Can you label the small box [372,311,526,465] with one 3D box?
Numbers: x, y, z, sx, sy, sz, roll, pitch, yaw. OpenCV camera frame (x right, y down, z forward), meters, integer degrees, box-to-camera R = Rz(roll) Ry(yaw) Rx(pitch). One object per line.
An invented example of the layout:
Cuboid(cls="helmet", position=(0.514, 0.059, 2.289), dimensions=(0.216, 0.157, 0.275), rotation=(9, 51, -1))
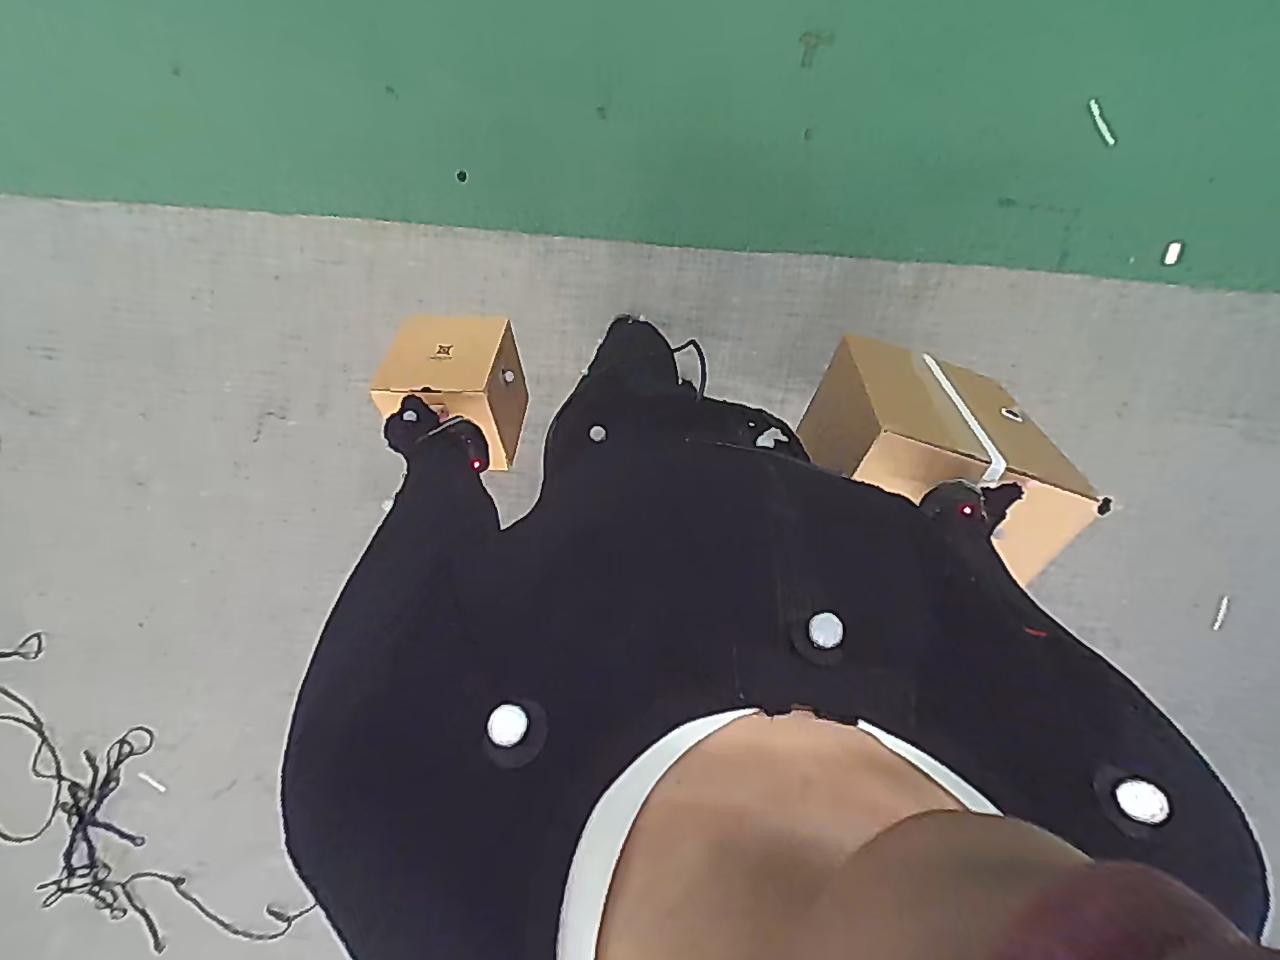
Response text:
Cuboid(cls="small box", position=(-0.287, -0.145, 0.860), dimensions=(0.168, 0.179, 0.176), rotation=(1, 143, 4))
